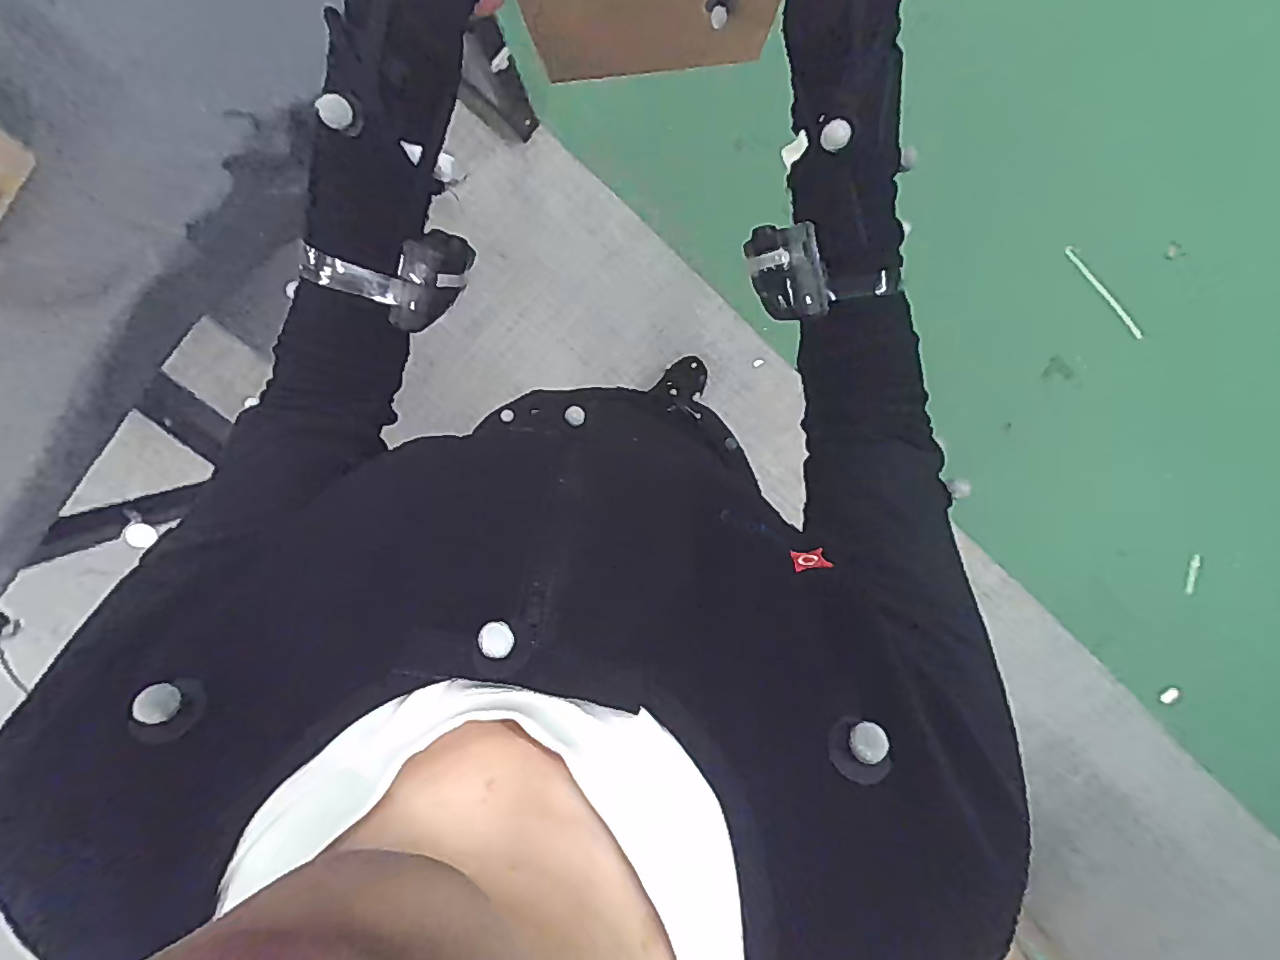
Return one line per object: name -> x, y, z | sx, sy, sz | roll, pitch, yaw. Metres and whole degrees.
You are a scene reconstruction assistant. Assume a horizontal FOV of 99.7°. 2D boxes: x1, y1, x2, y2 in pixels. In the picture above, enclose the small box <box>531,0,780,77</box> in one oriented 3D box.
small box -> 0.009, -0.397, 0.345 | 0.179, 0.176, 0.168 | -5, 103, 4
